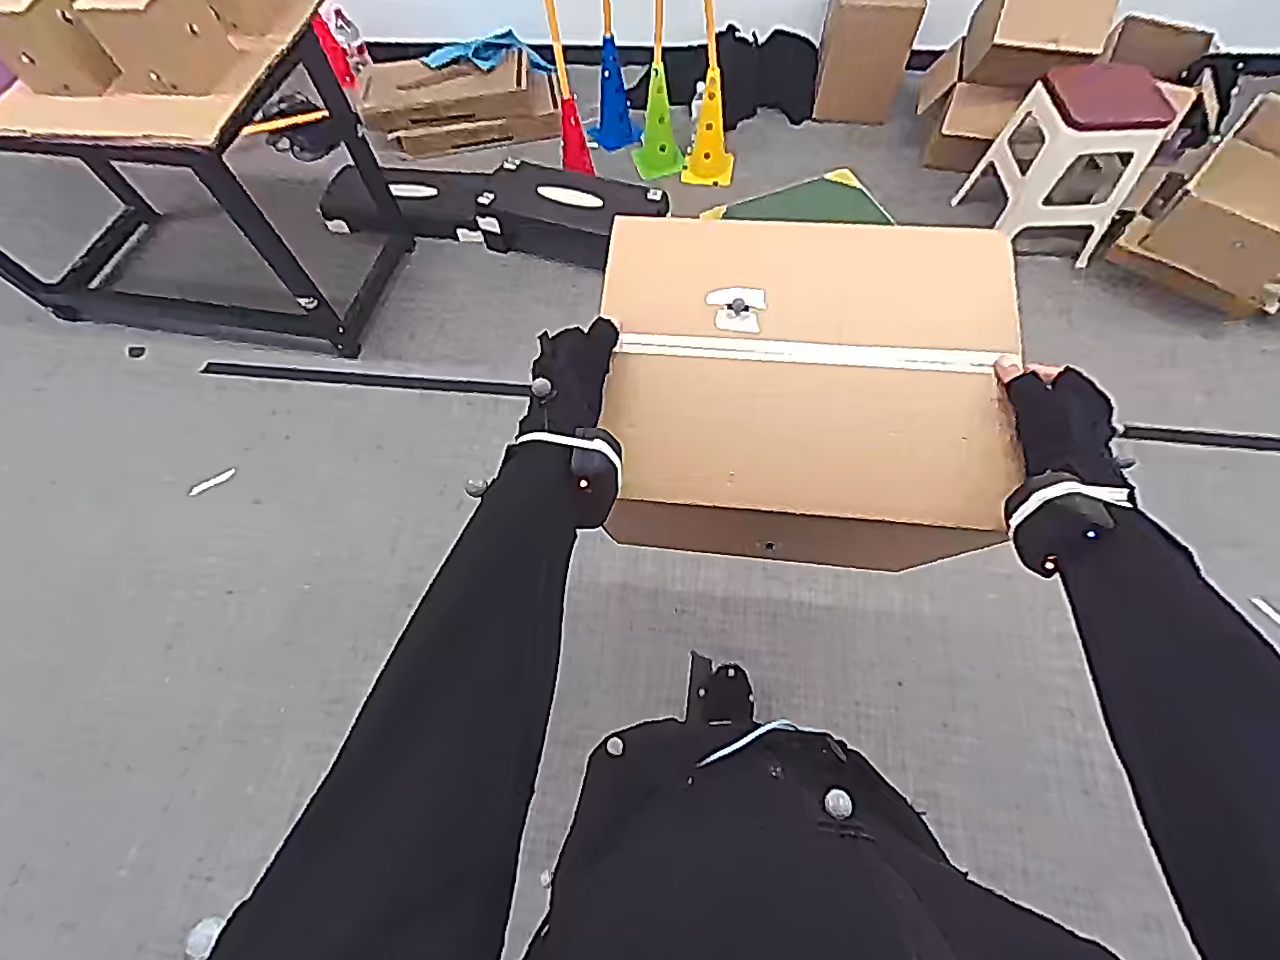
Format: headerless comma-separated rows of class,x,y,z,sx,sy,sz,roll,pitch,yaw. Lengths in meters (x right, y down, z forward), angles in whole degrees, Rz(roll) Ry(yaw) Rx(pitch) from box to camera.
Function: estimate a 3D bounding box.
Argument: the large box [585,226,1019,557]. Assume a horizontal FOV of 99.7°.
large box,0.172,-0.085,0.684,0.408,0.320,0.320,5,74,7
